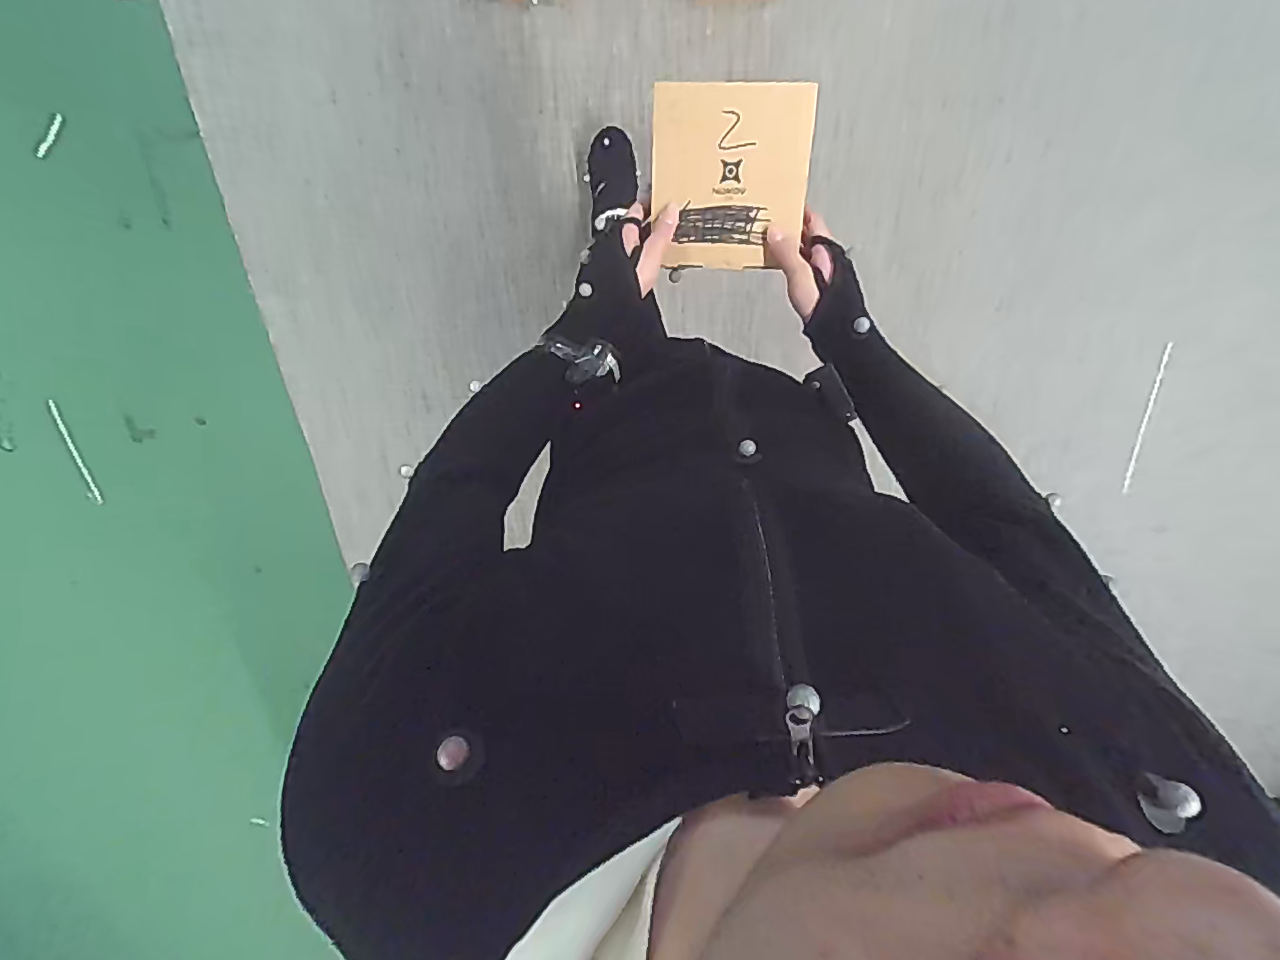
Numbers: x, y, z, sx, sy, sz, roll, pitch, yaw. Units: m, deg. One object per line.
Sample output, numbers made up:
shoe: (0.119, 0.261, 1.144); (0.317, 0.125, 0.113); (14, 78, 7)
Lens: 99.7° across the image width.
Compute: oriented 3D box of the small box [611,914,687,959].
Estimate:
small box: (0.025, 1.178, 1.288); (0.179, 0.176, 0.168); (-7, 114, 0)

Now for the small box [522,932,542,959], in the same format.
small box: (-0.333, 1.212, 1.288); (0.168, 0.176, 0.179); (-5, 115, 0)
